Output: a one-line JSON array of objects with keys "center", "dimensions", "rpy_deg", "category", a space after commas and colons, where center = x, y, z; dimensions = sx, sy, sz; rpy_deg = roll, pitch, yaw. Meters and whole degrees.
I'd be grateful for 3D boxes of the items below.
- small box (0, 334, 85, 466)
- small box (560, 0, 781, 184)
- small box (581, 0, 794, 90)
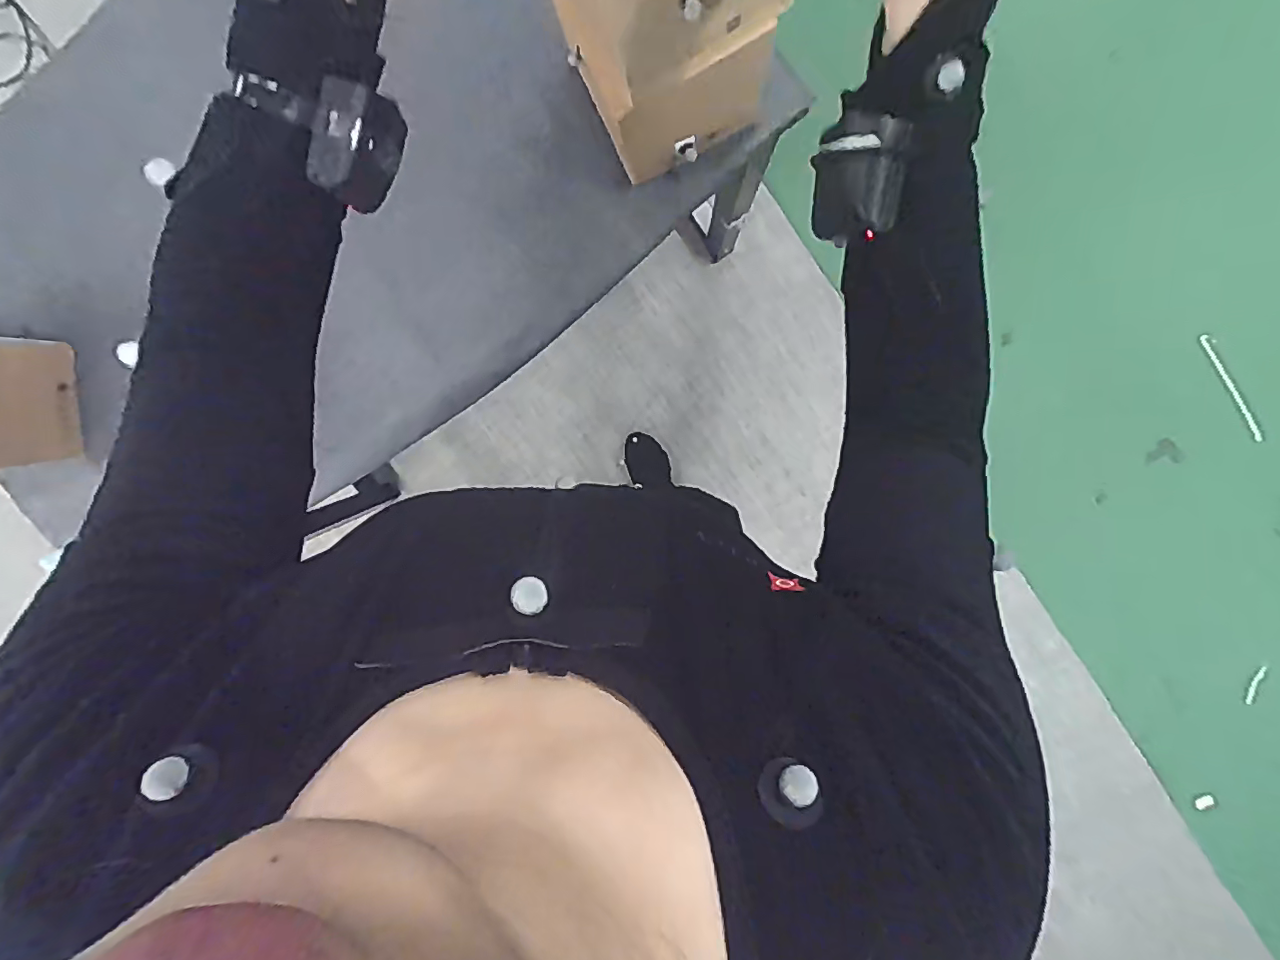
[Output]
[{"center": [-0.882, -0.105, 0.691], "dimensions": [0.179, 0.176, 0.168], "rpy_deg": [6, 101, 2], "category": "small box"}, {"center": [0.025, -0.455, 0.565], "dimensions": [0.168, 0.176, 0.179], "rpy_deg": [-25, 95, 10], "category": "small box"}, {"center": [0.021, -0.441, 0.403], "dimensions": [0.168, 0.176, 0.179], "rpy_deg": [-28, 93, 9], "category": "small box"}]
